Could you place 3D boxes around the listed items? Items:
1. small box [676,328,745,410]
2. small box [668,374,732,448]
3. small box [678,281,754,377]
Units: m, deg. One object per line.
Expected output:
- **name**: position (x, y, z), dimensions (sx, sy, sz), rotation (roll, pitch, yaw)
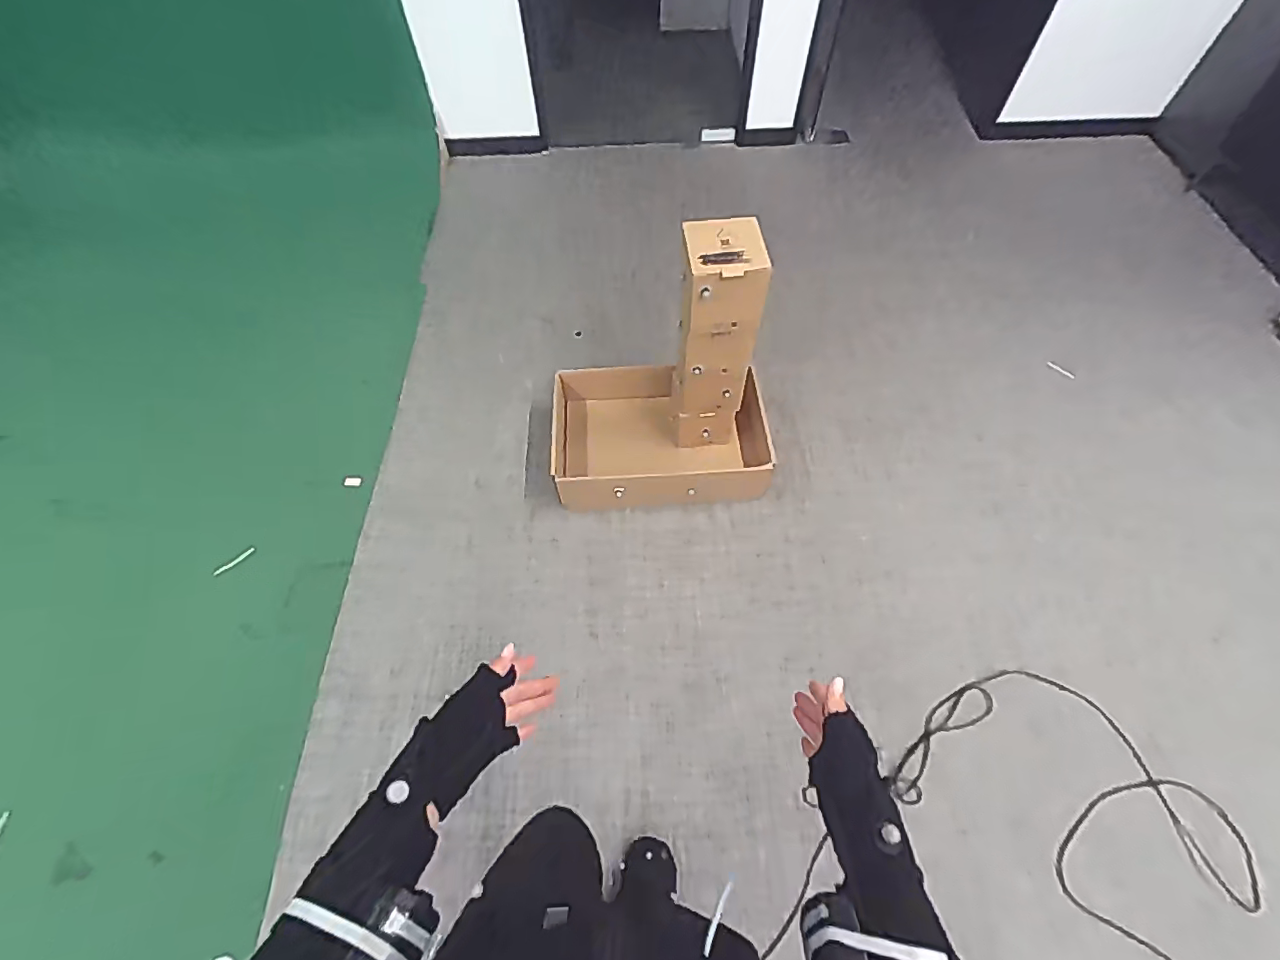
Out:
- **small box**: position (0.188, -0.304, 1.489), dimensions (0.168, 0.176, 0.179), rotation (-3, 59, 0)
- **small box**: position (0.178, -0.209, 1.644), dimensions (0.168, 0.176, 0.179), rotation (-8, 59, -1)
- **small box**: position (0.184, -0.373, 1.359), dimensions (0.168, 0.176, 0.179), rotation (-2, 59, -1)
